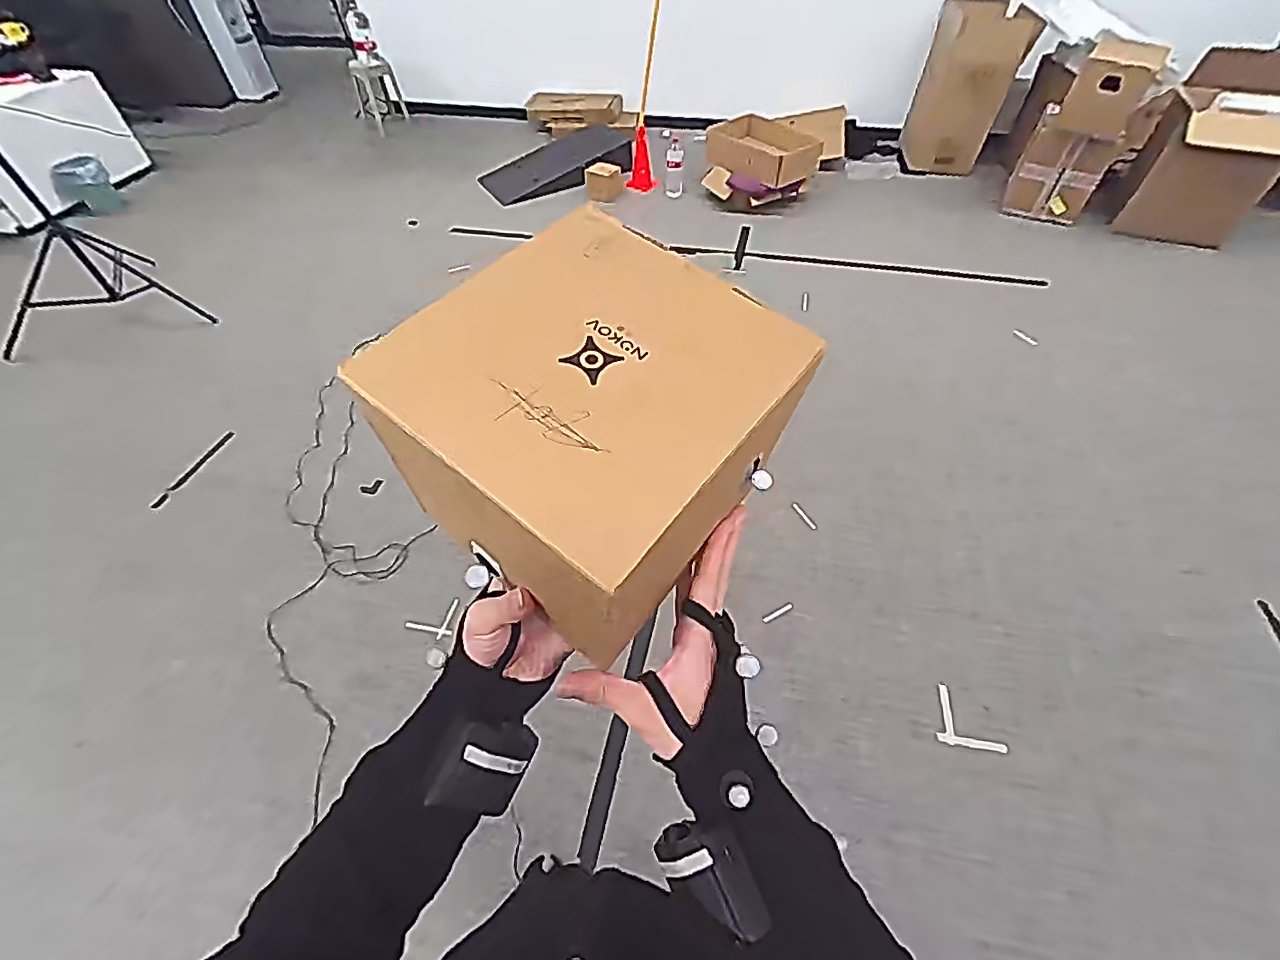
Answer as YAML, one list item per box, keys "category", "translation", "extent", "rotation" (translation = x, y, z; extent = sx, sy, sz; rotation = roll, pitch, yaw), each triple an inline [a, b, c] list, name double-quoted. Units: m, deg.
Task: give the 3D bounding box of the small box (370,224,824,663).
- category: "small box"
  translation: [-0.022, -0.015, 0.342]
  extent: [0.168, 0.176, 0.179]
  rotation: [36, 65, 15]
